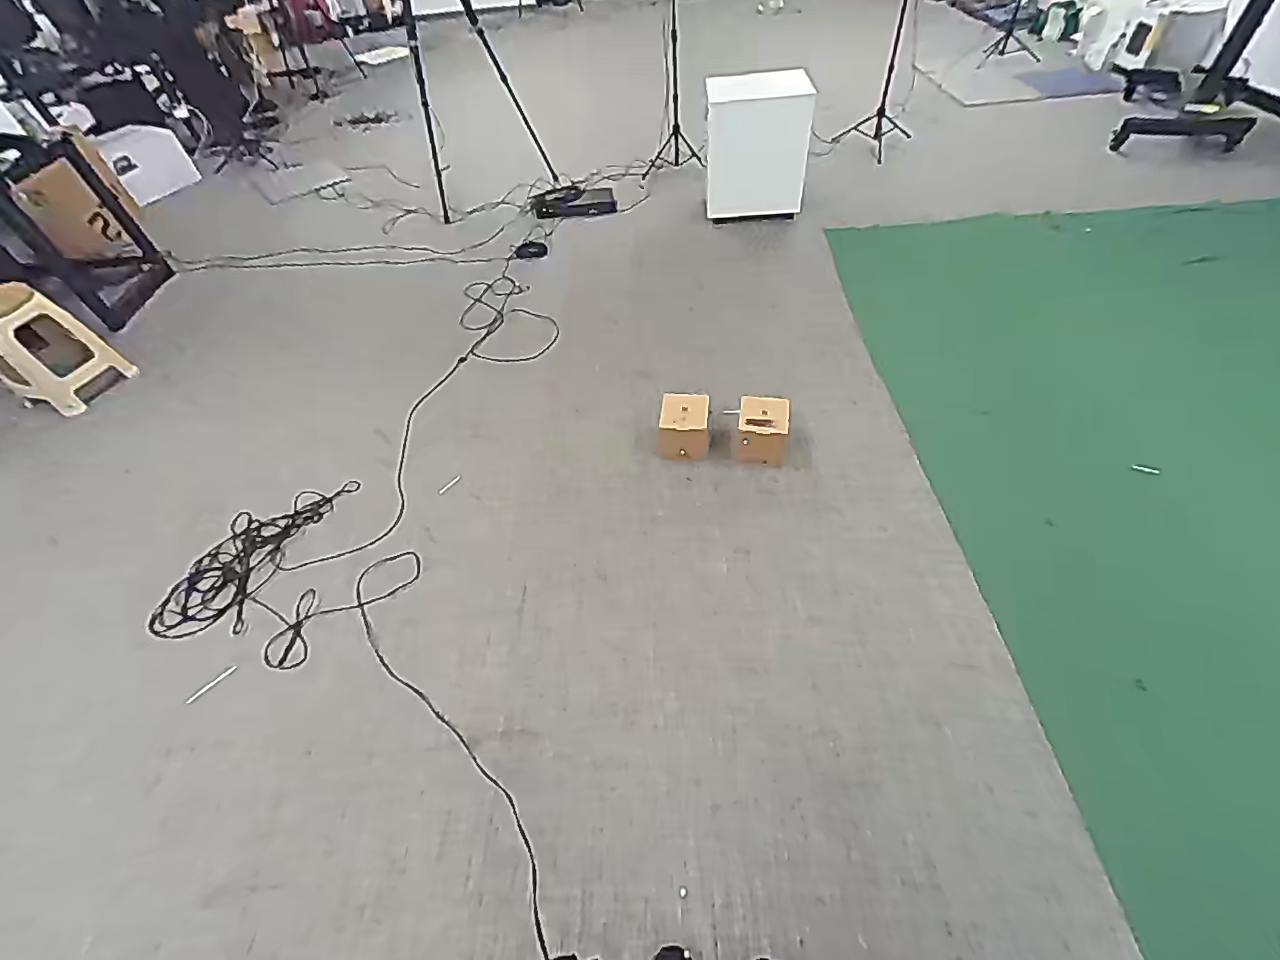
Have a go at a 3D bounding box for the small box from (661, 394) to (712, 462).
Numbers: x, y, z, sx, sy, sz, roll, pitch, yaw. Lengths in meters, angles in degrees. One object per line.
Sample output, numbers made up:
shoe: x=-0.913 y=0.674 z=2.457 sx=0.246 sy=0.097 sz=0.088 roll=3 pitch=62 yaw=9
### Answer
small box: x=0.170 y=-0.187 z=1.949 sx=0.168 sy=0.176 sz=0.179 roll=3 pitch=51 yaw=9
